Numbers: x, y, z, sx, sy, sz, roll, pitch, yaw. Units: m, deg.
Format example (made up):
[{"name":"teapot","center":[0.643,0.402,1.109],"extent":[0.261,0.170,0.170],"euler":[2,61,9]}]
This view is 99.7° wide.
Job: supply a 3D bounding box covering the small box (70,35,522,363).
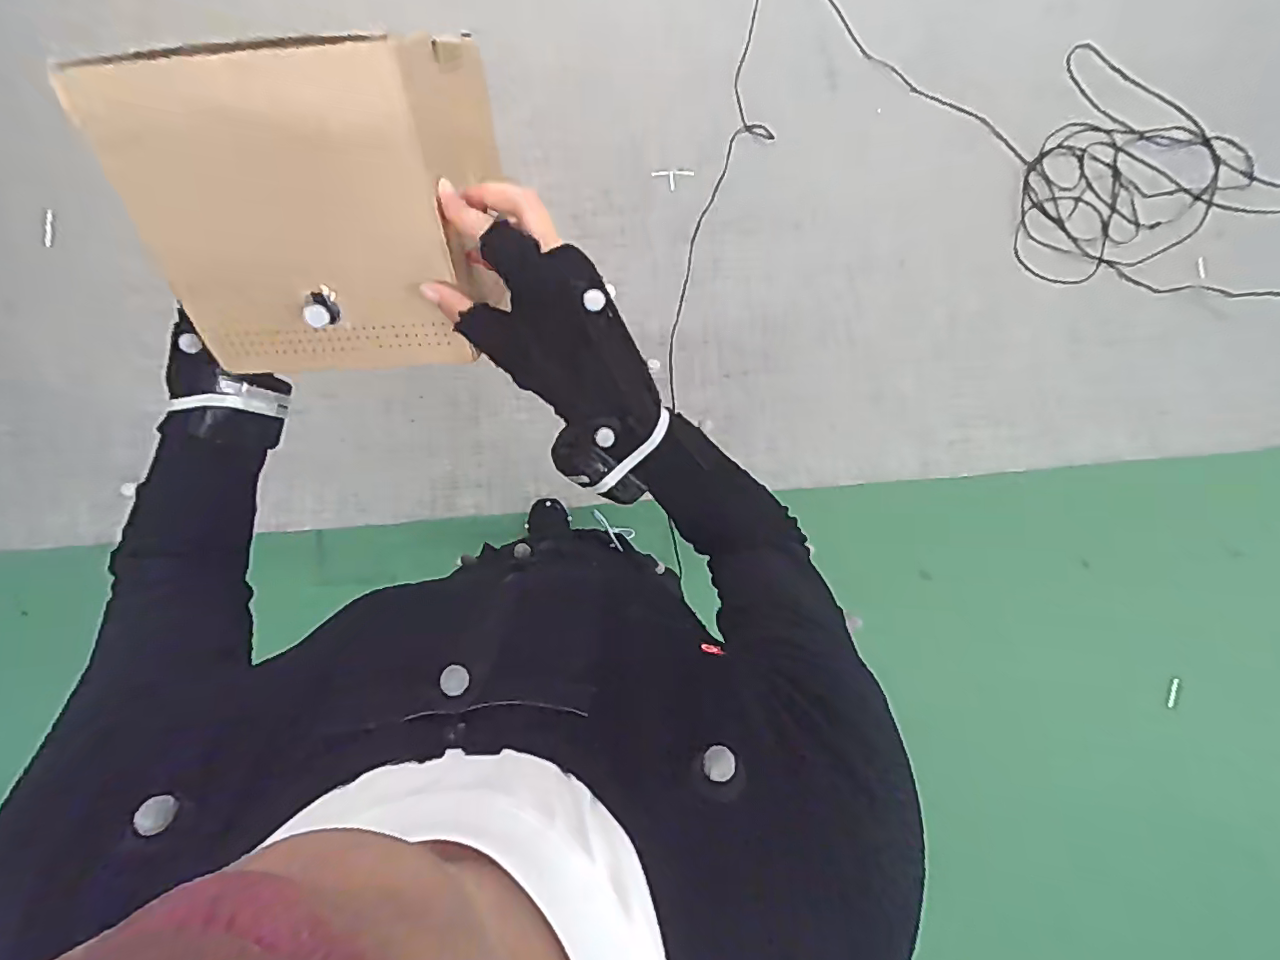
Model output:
[{"name":"small box","center":[-0.193,-0.194,0.377],"extent":[0.179,0.176,0.168],"euler":[-2,39,4]}]
